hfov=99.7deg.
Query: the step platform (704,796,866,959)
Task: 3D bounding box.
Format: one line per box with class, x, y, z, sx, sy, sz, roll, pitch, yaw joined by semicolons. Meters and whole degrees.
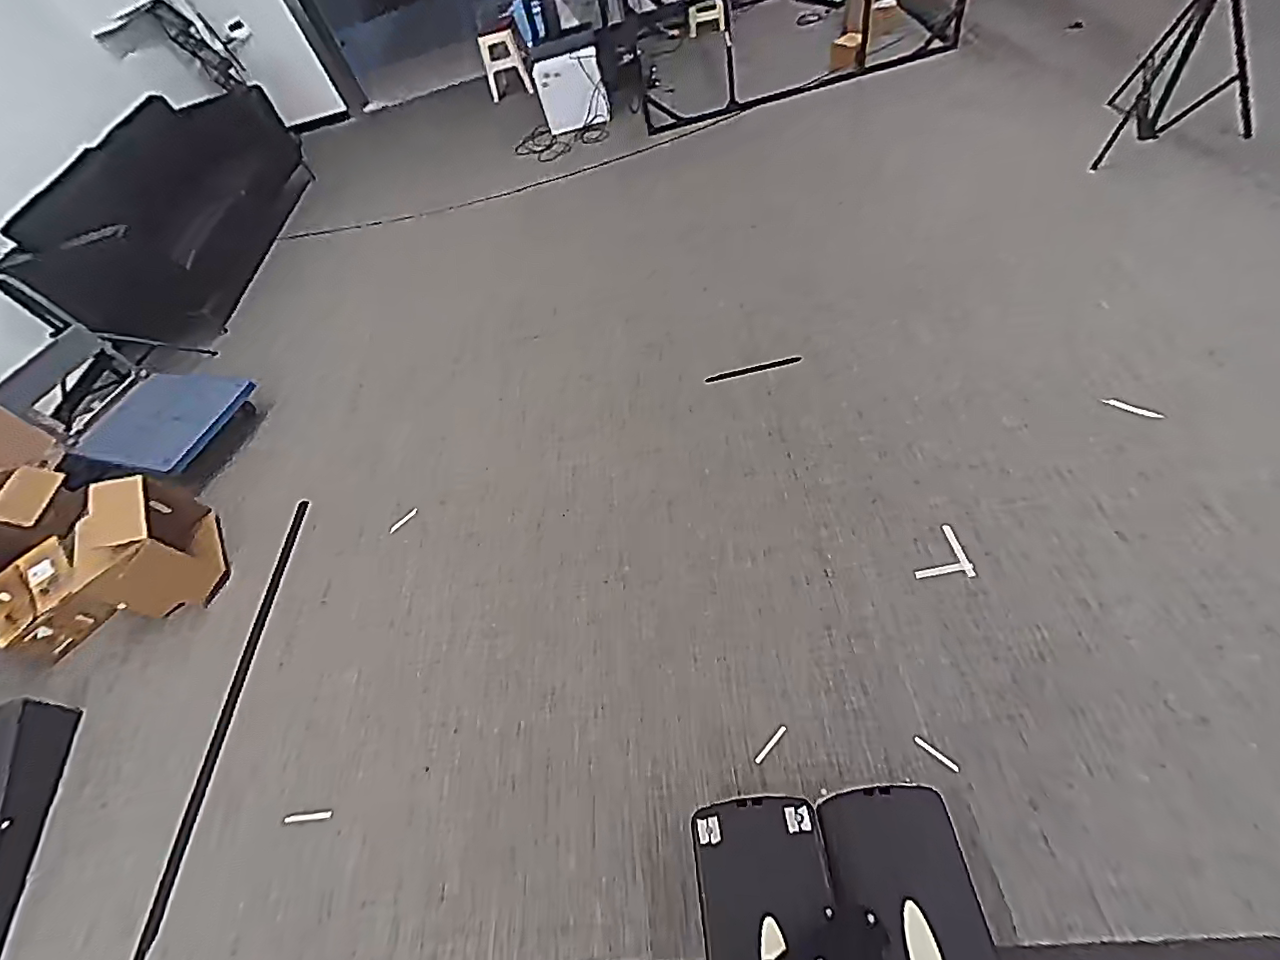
step platform;0.315;1.026;1.075;0.286;0.204;0.684;-12;52;7
